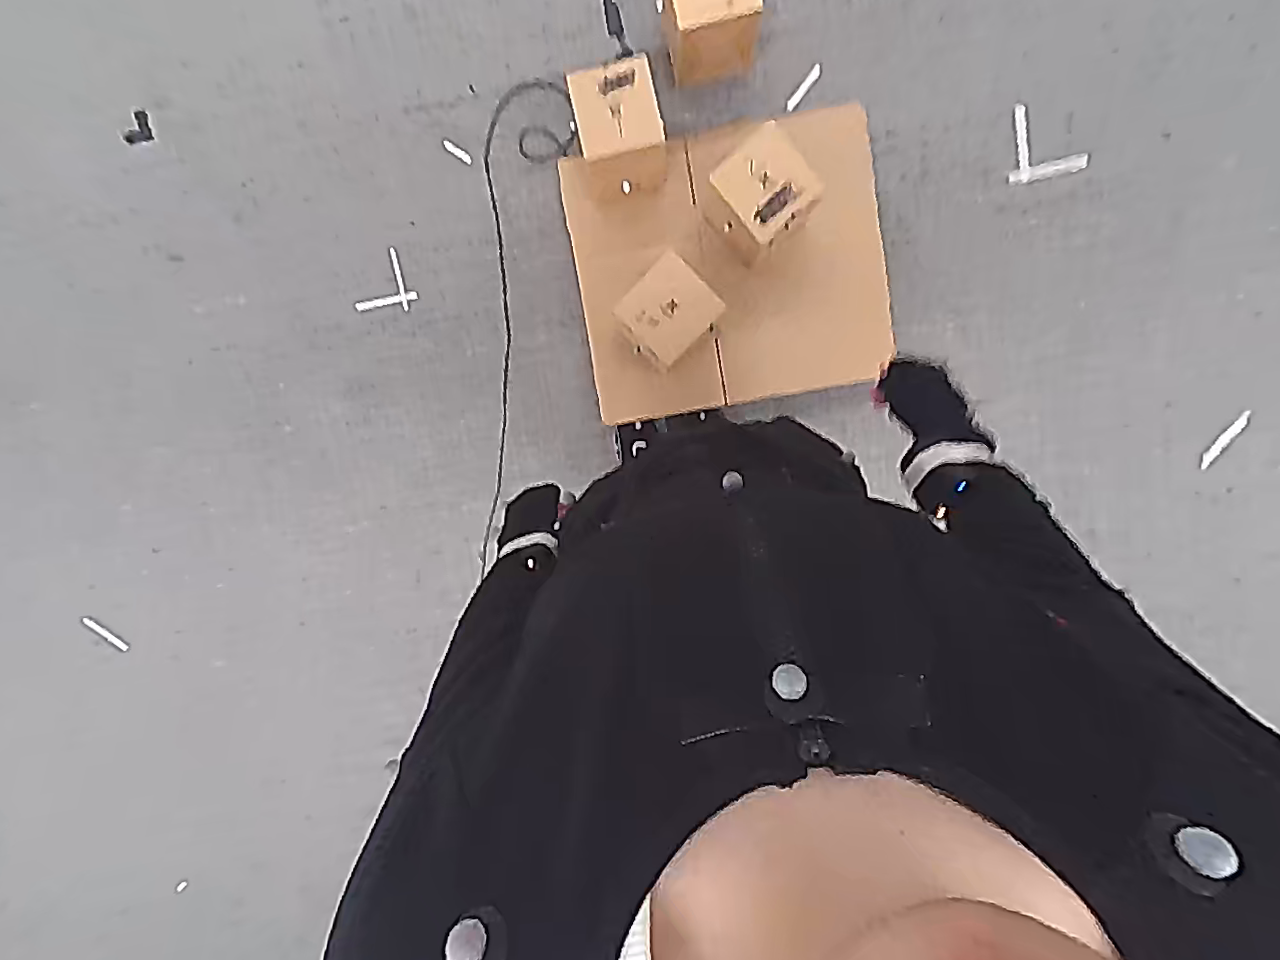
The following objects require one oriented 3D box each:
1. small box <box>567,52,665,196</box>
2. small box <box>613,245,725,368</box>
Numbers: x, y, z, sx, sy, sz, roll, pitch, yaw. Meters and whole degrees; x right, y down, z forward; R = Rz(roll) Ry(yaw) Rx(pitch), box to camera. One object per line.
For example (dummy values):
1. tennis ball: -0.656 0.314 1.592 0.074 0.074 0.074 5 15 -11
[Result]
1. small box: -0.048 -0.741 1.141 0.168 0.176 0.179 -13 91 2
2. small box: 0.058 -0.366 1.177 0.179 0.176 0.168 -45 93 4
